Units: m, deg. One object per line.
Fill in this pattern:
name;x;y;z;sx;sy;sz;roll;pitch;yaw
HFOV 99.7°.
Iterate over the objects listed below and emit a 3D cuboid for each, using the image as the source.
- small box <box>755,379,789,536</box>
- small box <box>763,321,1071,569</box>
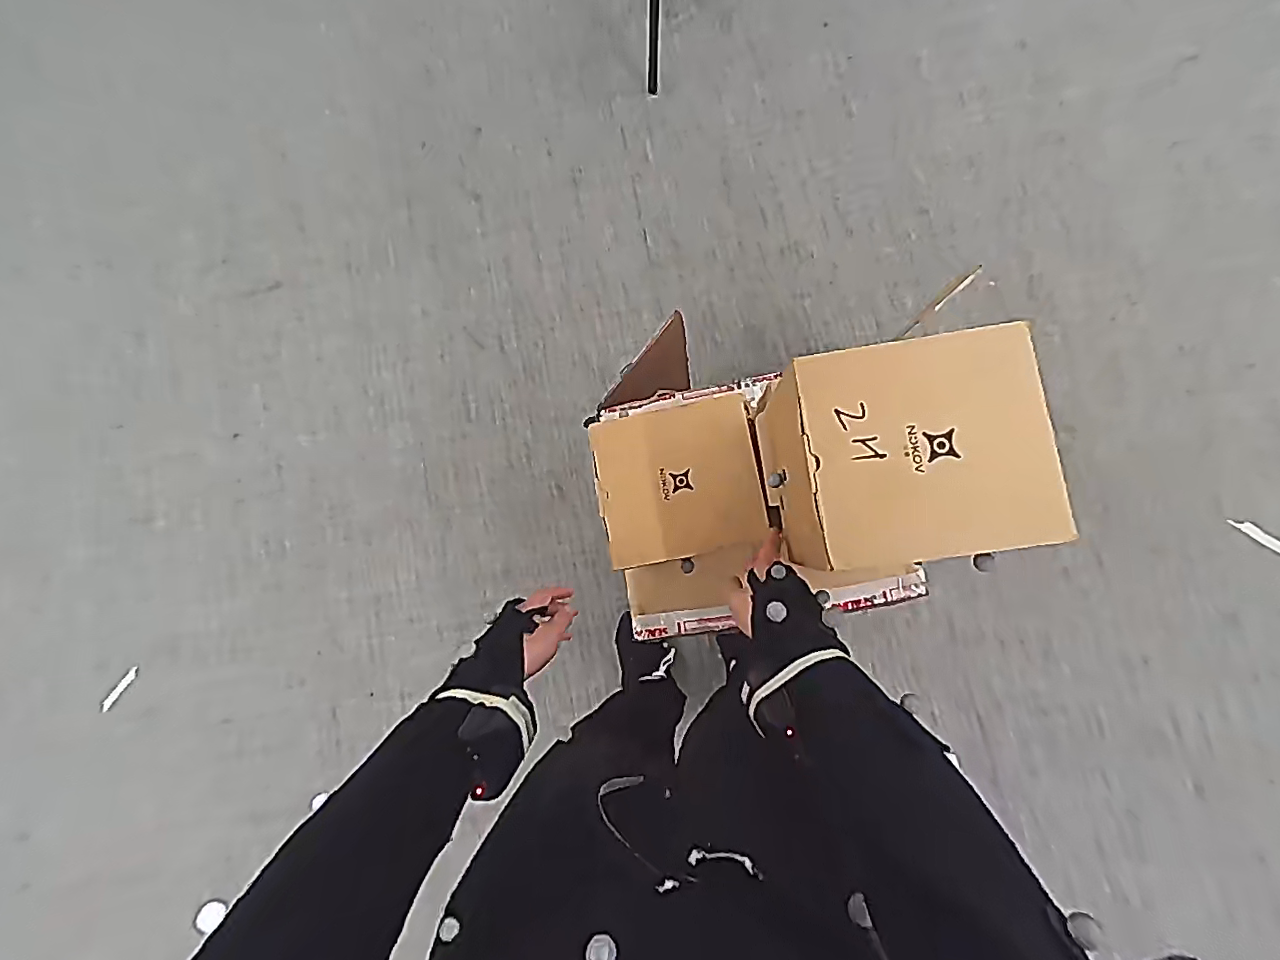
small box;0.235;-0.024;0.638;0.179;0.176;0.168;-6;83;4
small box;0.216;-0.018;0.474;0.179;0.176;0.168;-9;83;5
